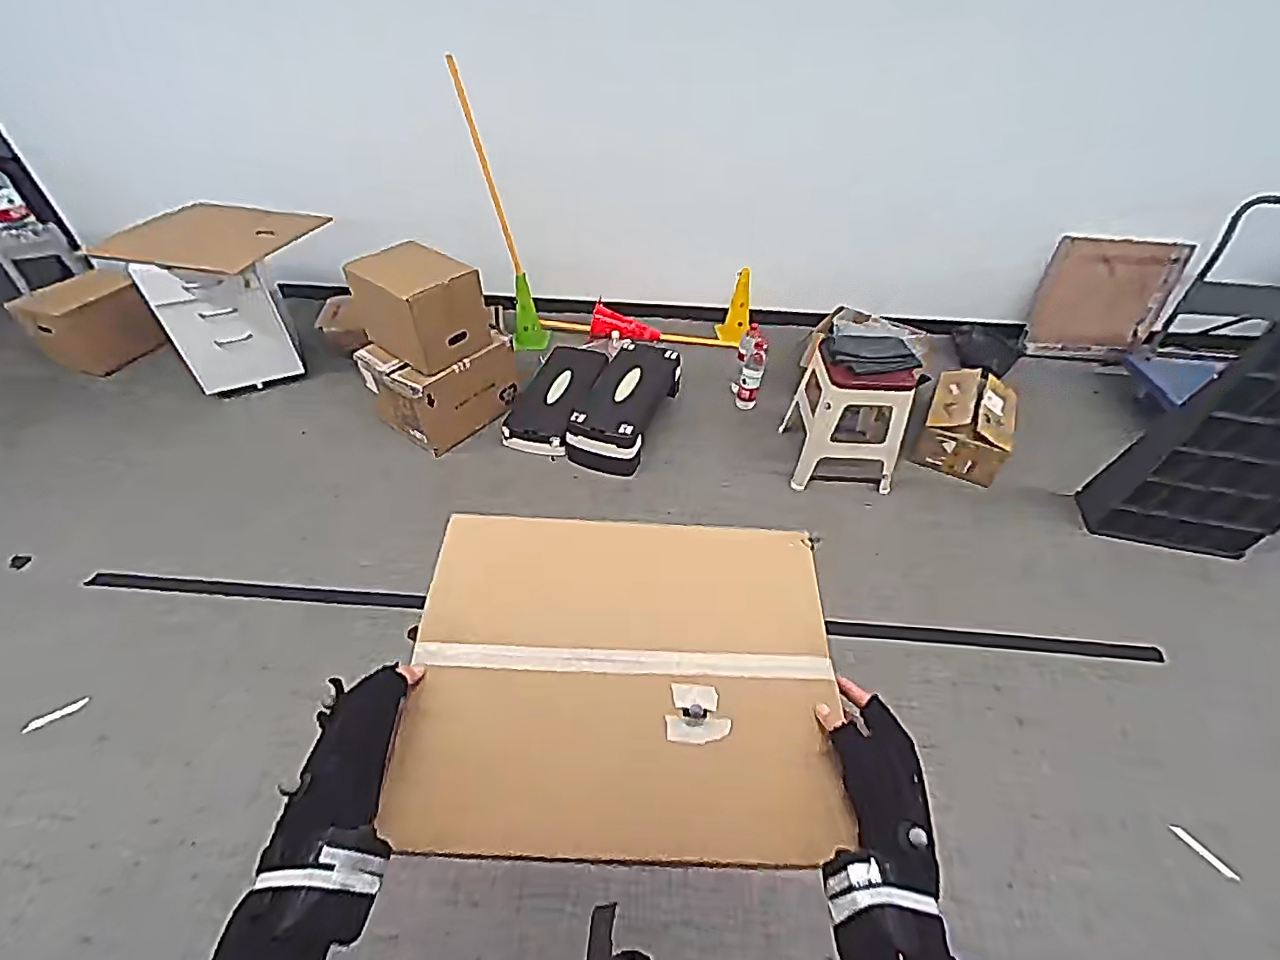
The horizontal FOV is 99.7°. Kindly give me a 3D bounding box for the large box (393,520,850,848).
[{"bbox_3d":[-0.021,0.263,0.668,0.408,0.320,0.320,3,56,-2],"label":"large box"}]
